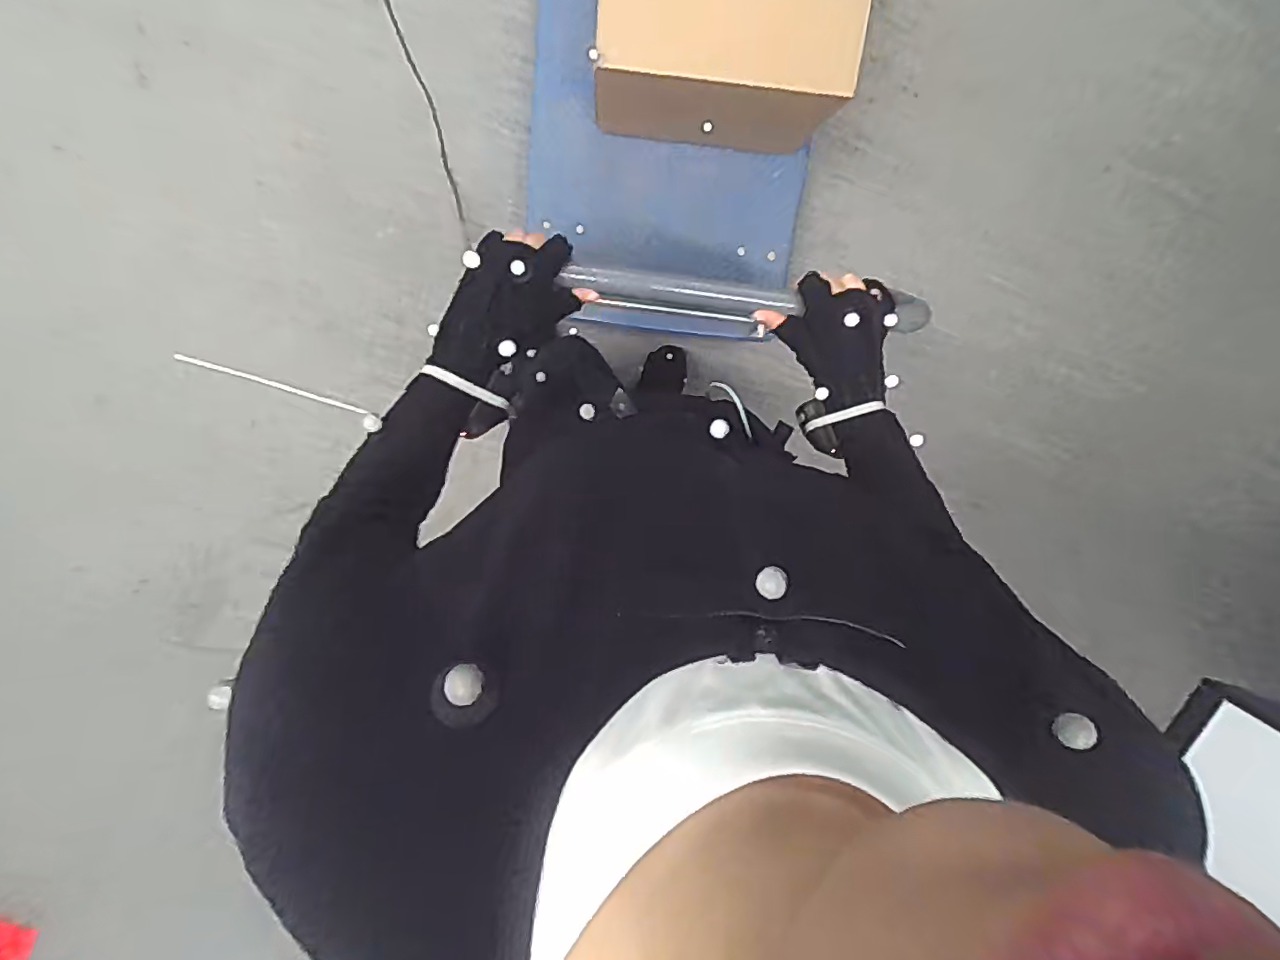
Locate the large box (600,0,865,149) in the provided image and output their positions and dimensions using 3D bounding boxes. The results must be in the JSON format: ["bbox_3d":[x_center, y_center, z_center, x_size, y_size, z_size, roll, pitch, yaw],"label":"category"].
[{"bbox_3d":[0.139,-0.798,0.937,0.408,0.320,0.320,3,106,-4],"label":"large box"}]
